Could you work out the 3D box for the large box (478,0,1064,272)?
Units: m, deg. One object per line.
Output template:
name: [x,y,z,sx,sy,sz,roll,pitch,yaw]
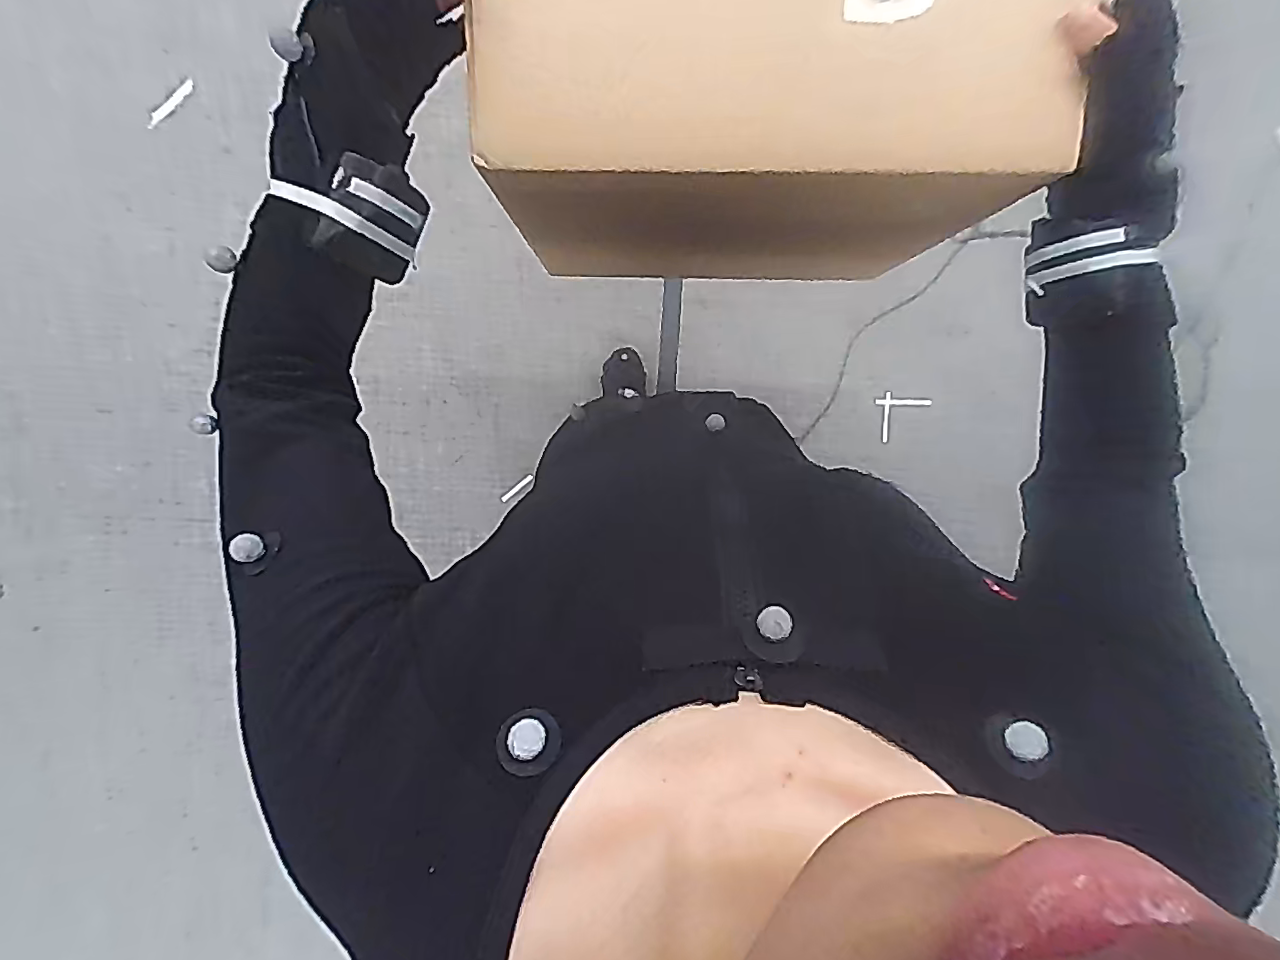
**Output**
large box: [0.084,-0.394,0.504,0.408,0.320,0.320,0,98,-1]
